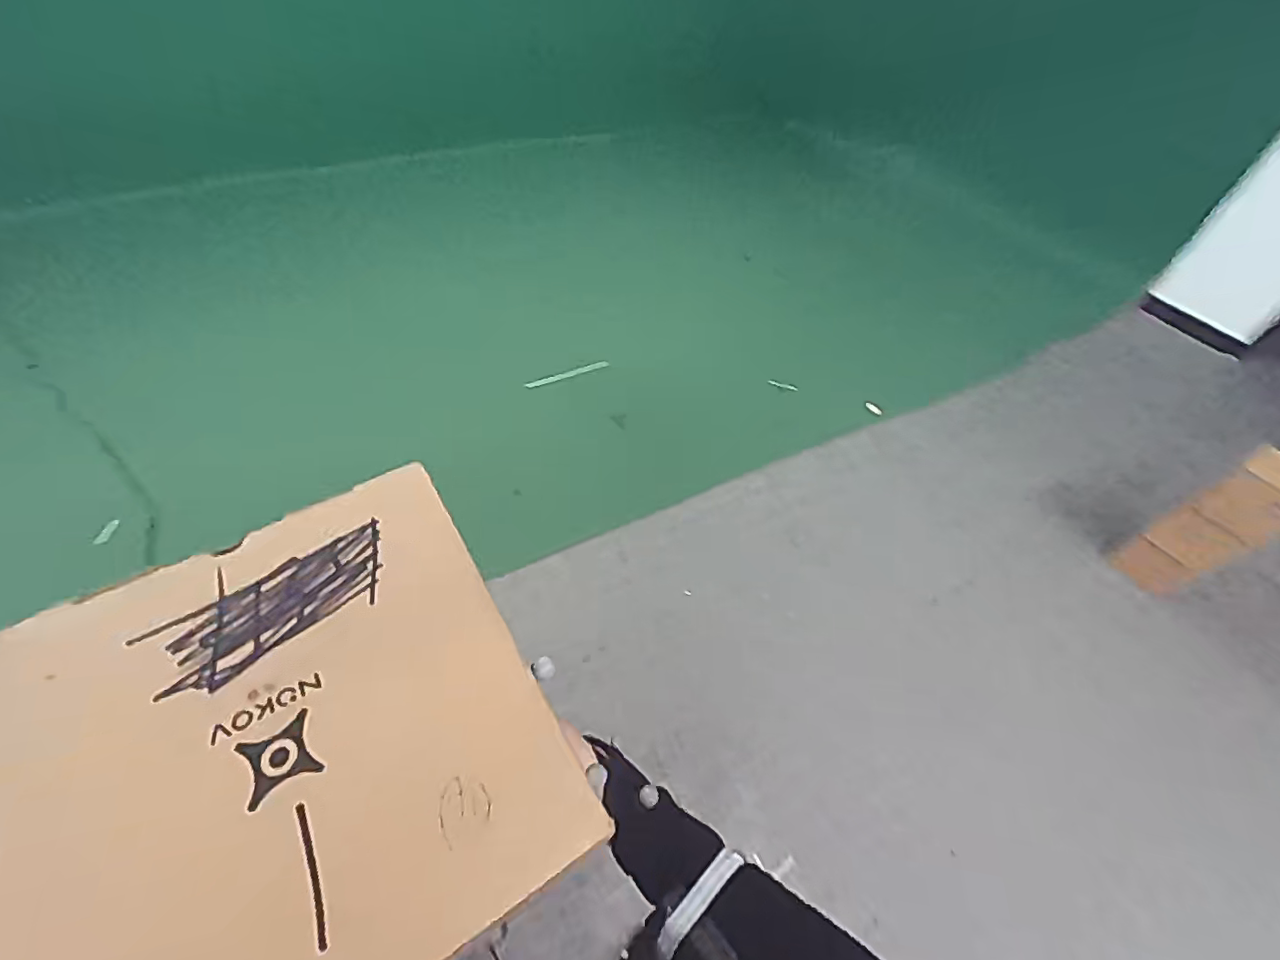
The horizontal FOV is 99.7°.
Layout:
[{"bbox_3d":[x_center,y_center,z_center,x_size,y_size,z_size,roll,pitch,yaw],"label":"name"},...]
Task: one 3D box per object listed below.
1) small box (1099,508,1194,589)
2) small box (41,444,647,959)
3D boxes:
[{"bbox_3d":[1.651,0.227,1.736,0.168,0.176,0.179,-25,56,-22],"label":"small box"},{"bbox_3d":[-0.116,0.120,0.258,0.168,0.176,0.179,-26,62,-20],"label":"small box"}]
